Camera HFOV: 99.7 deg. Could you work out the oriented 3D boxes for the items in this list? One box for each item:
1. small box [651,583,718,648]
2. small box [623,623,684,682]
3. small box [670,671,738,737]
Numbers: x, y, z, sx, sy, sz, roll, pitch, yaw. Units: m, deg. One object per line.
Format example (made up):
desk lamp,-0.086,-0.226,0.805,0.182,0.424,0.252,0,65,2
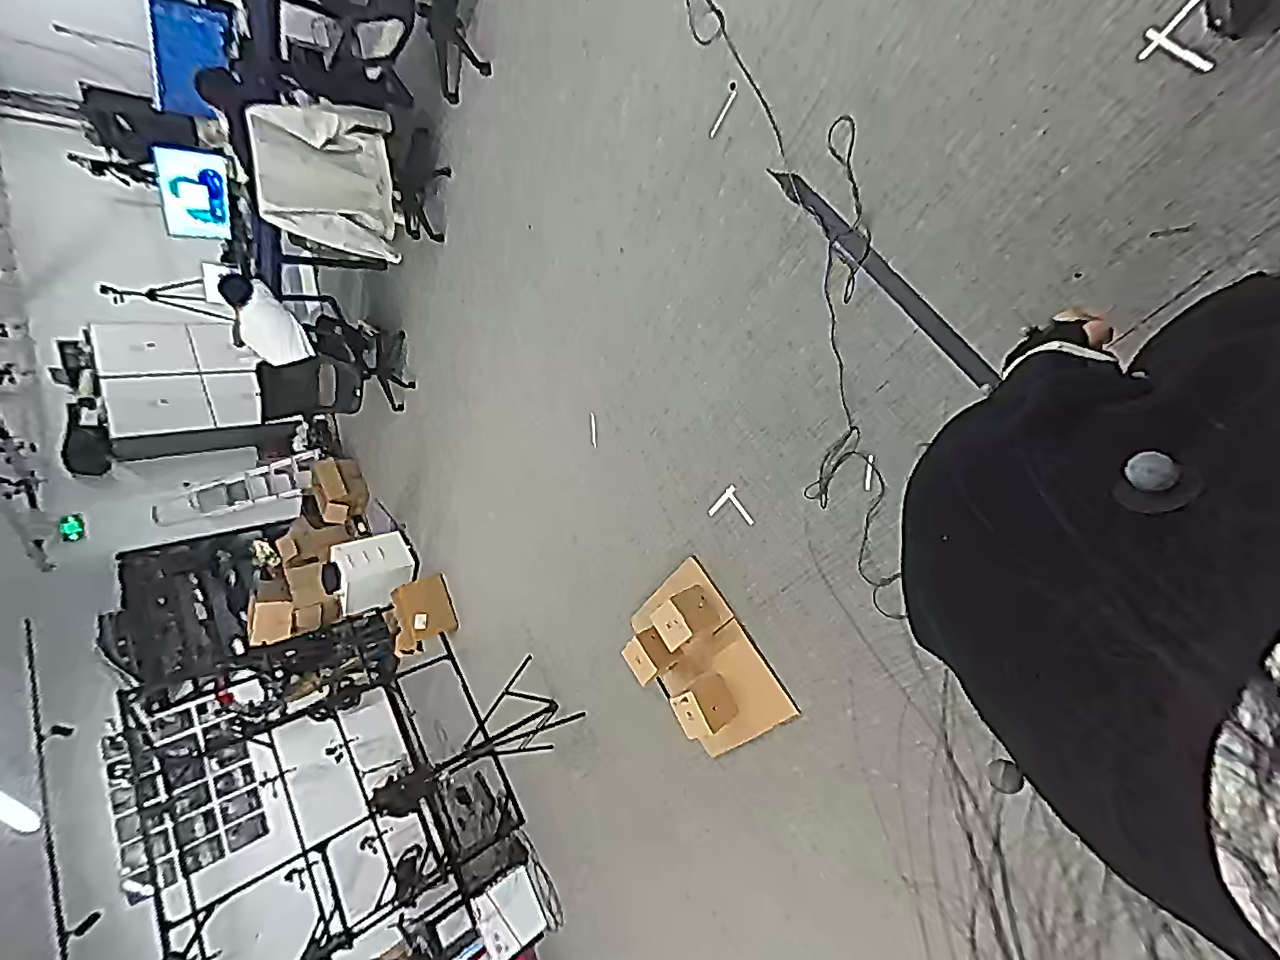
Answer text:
small box,0.180,0.540,2.160,0.168,0.176,0.179,56,135,20
small box,0.059,0.743,2.359,0.179,0.176,0.168,53,136,25
small box,0.259,0.898,2.170,0.168,0.176,0.179,-43,70,45
